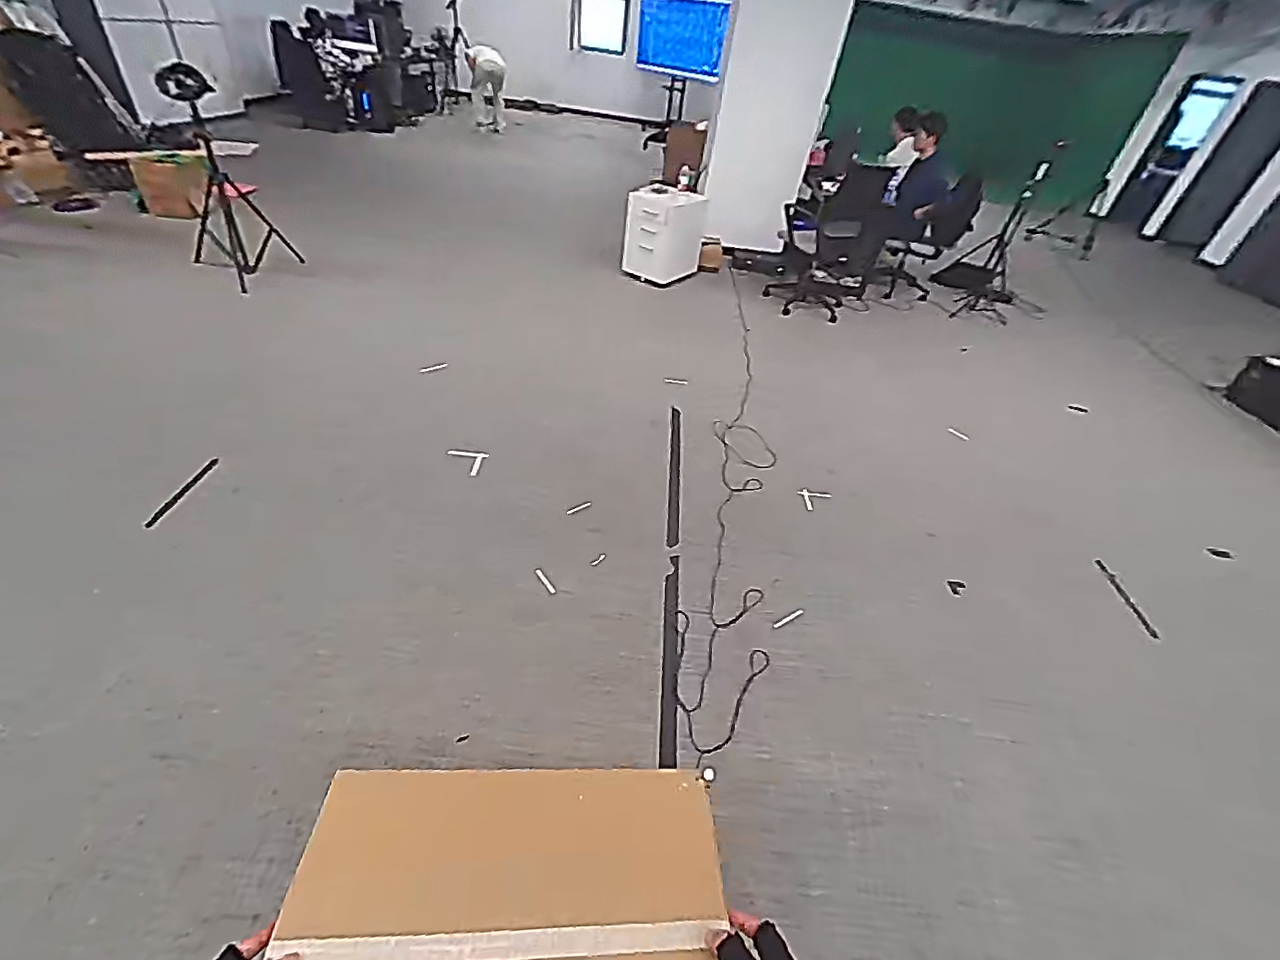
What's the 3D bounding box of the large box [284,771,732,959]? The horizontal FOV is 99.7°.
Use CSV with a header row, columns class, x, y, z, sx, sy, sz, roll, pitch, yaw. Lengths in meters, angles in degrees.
class,x,y,z,sx,sy,sz,roll,pitch,yaw
large box,-0.132,0.544,0.577,0.408,0.320,0.320,5,35,-7
